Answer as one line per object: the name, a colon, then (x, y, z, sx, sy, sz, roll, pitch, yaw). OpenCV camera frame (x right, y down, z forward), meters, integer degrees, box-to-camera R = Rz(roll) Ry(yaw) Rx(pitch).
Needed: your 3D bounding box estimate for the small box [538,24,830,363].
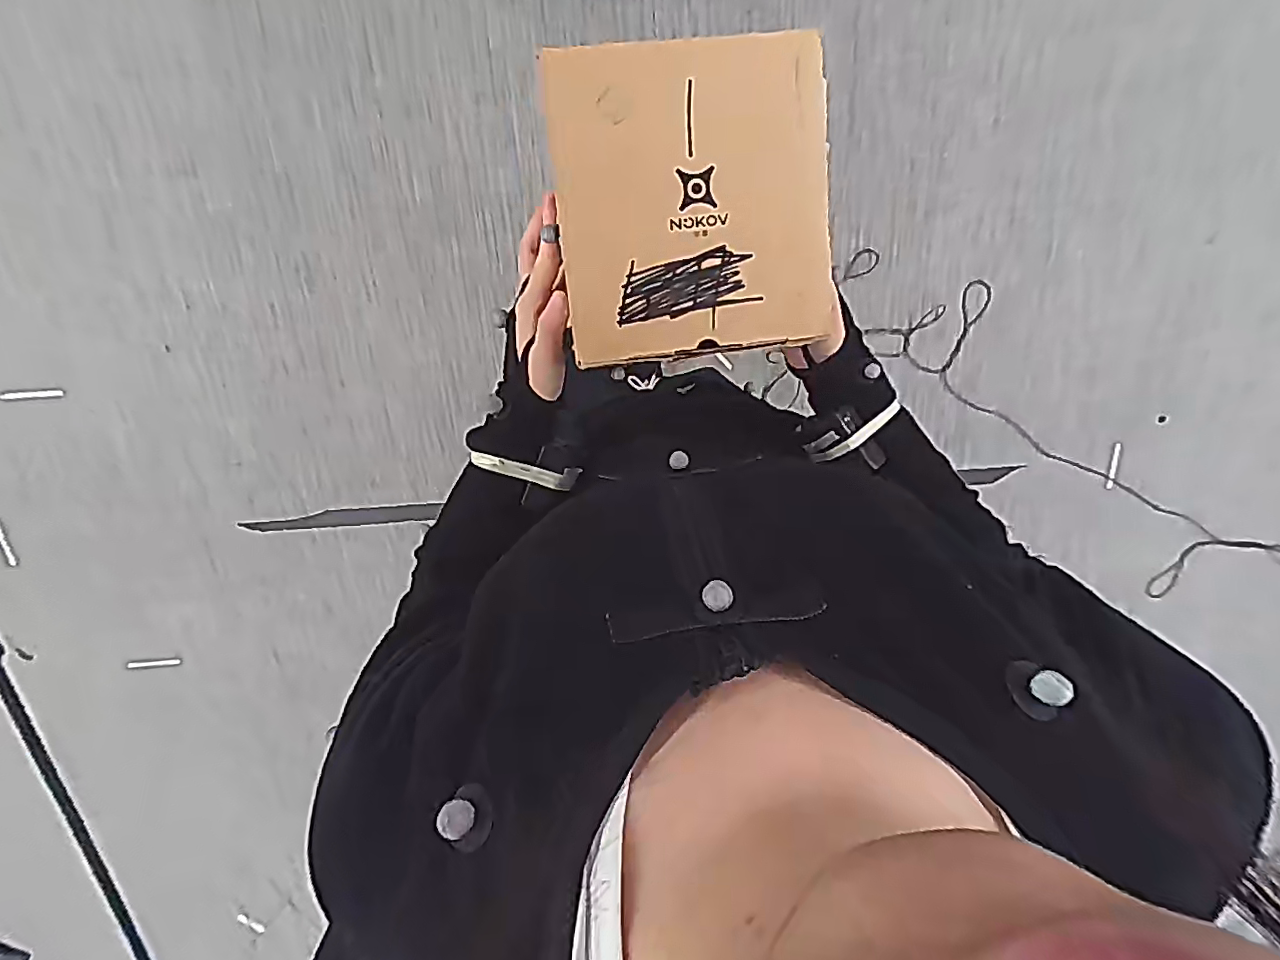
small box: (0.025, -0.183, 0.400, 0.168, 0.176, 0.179, -8, 101, -4)
